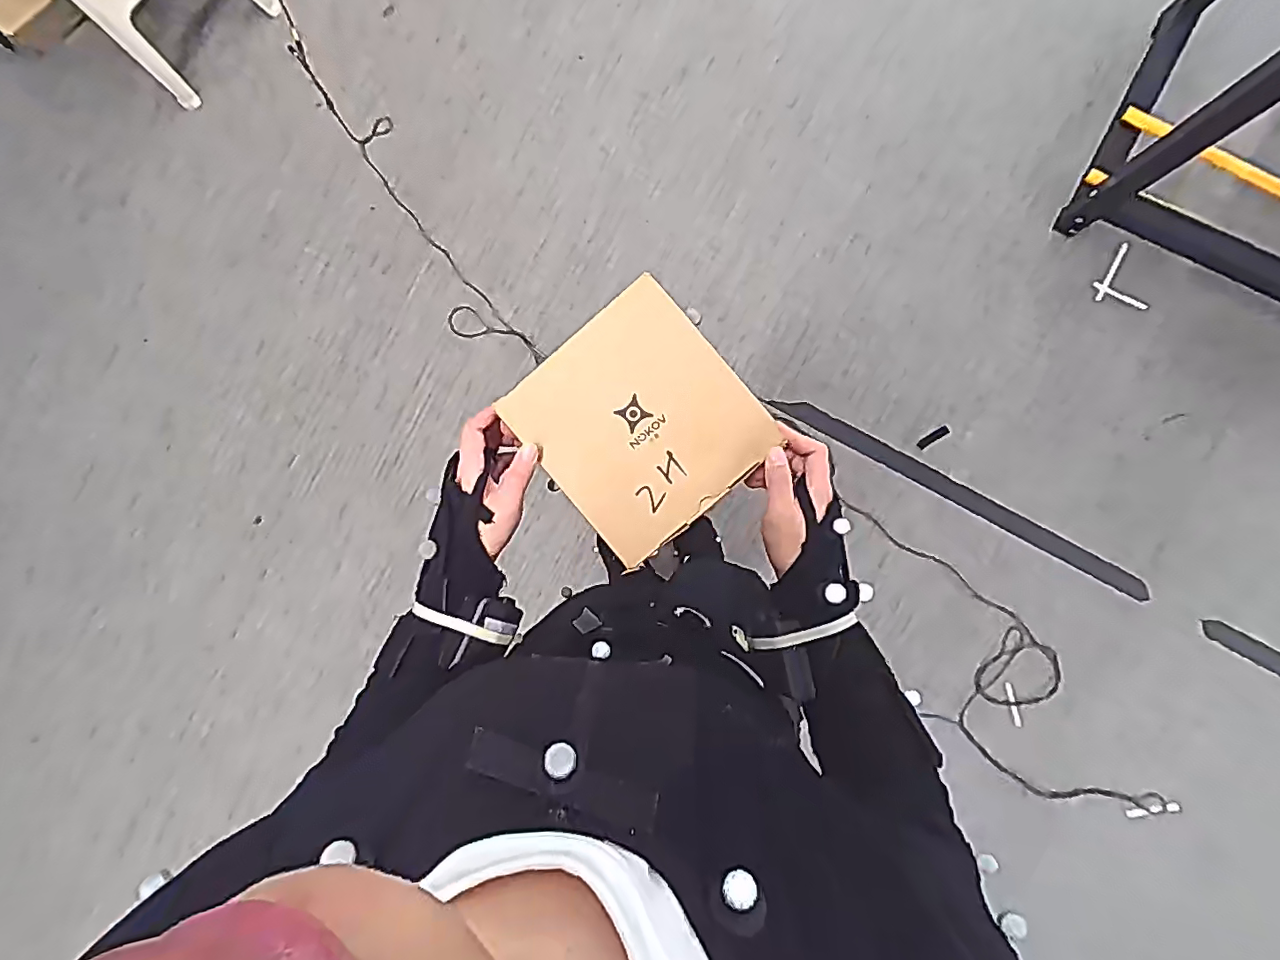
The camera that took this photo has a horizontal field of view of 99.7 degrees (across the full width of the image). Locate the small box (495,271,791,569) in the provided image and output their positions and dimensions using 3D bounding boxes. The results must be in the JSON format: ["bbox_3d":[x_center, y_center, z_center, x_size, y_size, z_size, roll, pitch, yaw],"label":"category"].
[{"bbox_3d":[0.005,-0.048,0.496,0.168,0.176,0.179,-40,90,5],"label":"small box"}]
